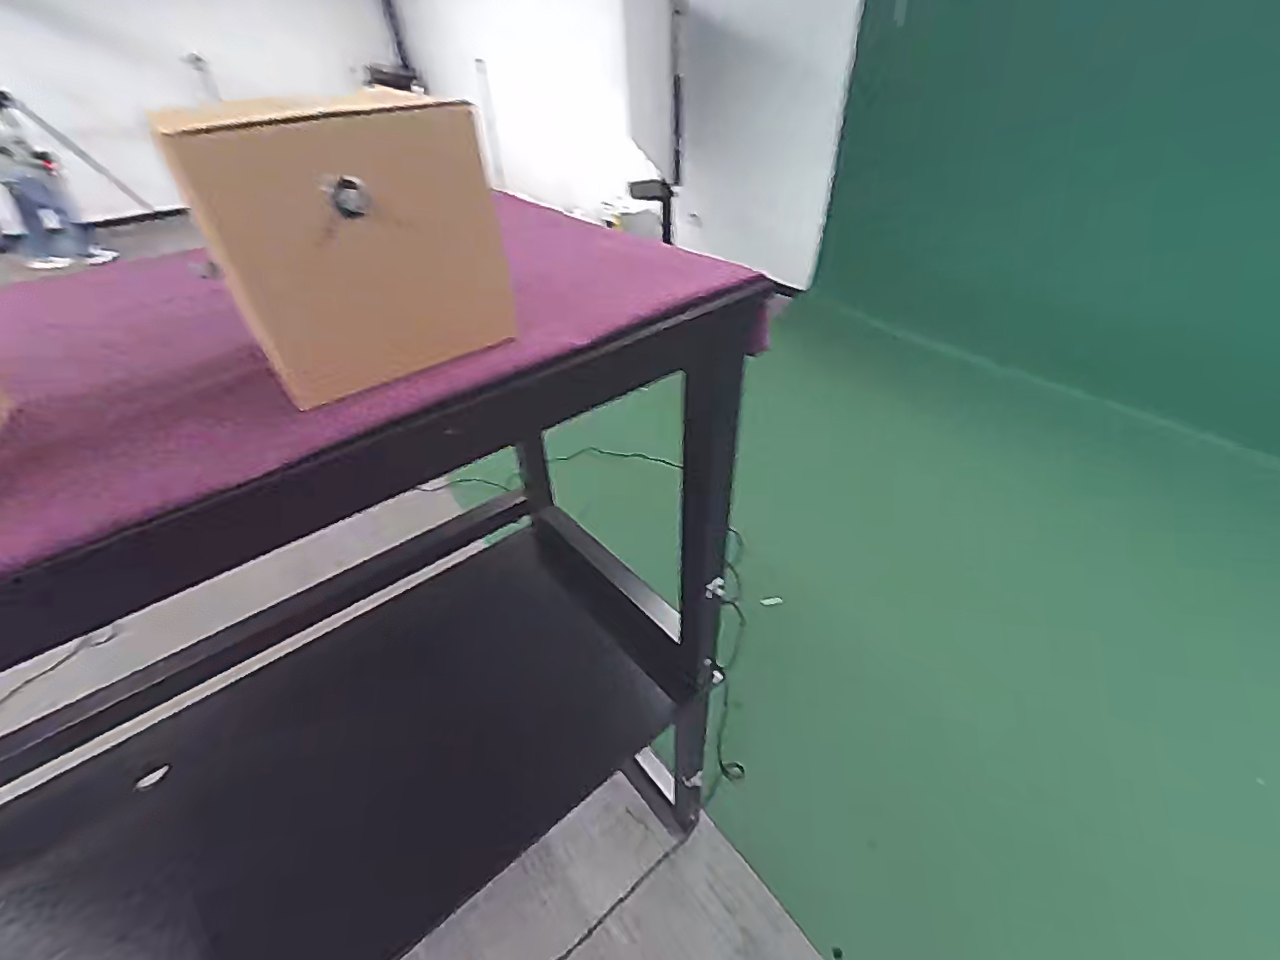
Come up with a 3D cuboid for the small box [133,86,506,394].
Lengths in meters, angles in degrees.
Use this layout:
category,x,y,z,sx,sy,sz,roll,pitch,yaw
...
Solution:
category,x,y,z,sx,sy,sz,roll,pitch,yaw
small box,-0.226,-0.187,0.411,0.179,0.176,0.168,-29,47,-28
